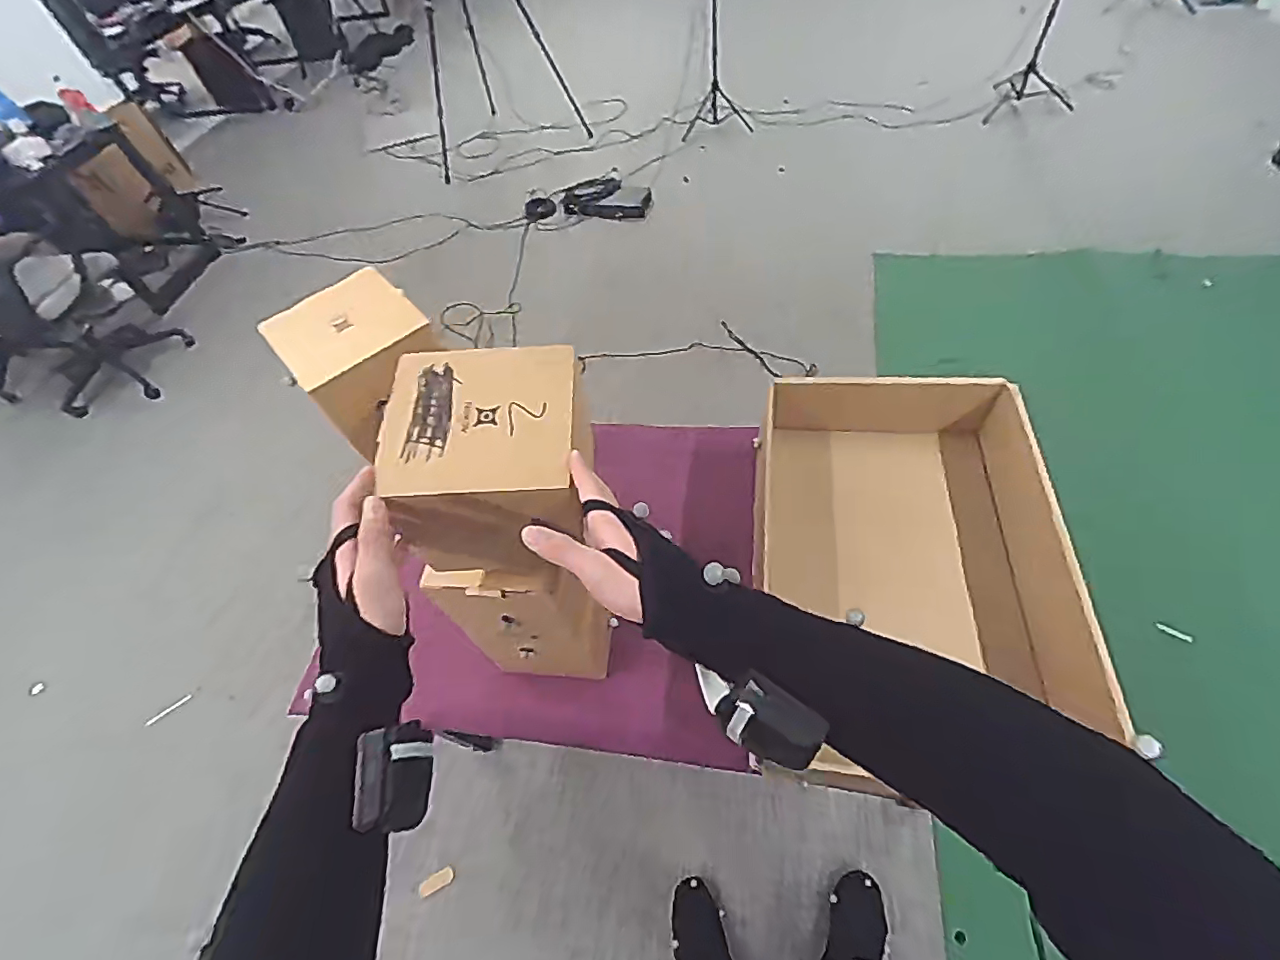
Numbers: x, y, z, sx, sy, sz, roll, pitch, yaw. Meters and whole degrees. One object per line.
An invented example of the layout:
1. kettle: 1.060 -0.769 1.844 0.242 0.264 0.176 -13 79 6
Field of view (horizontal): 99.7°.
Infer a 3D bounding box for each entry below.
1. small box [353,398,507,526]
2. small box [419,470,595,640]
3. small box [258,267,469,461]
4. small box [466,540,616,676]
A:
1. small box: -0.345 -0.058 0.874 0.179 0.176 0.168 -37 60 -17
2. small box: -0.162 0.105 0.734 0.168 0.176 0.179 2 55 8
3. small box: -0.366 -0.150 0.743 0.168 0.176 0.179 -39 60 -18
4. small box: -0.145 0.204 0.863 0.179 0.176 0.168 1 55 8
